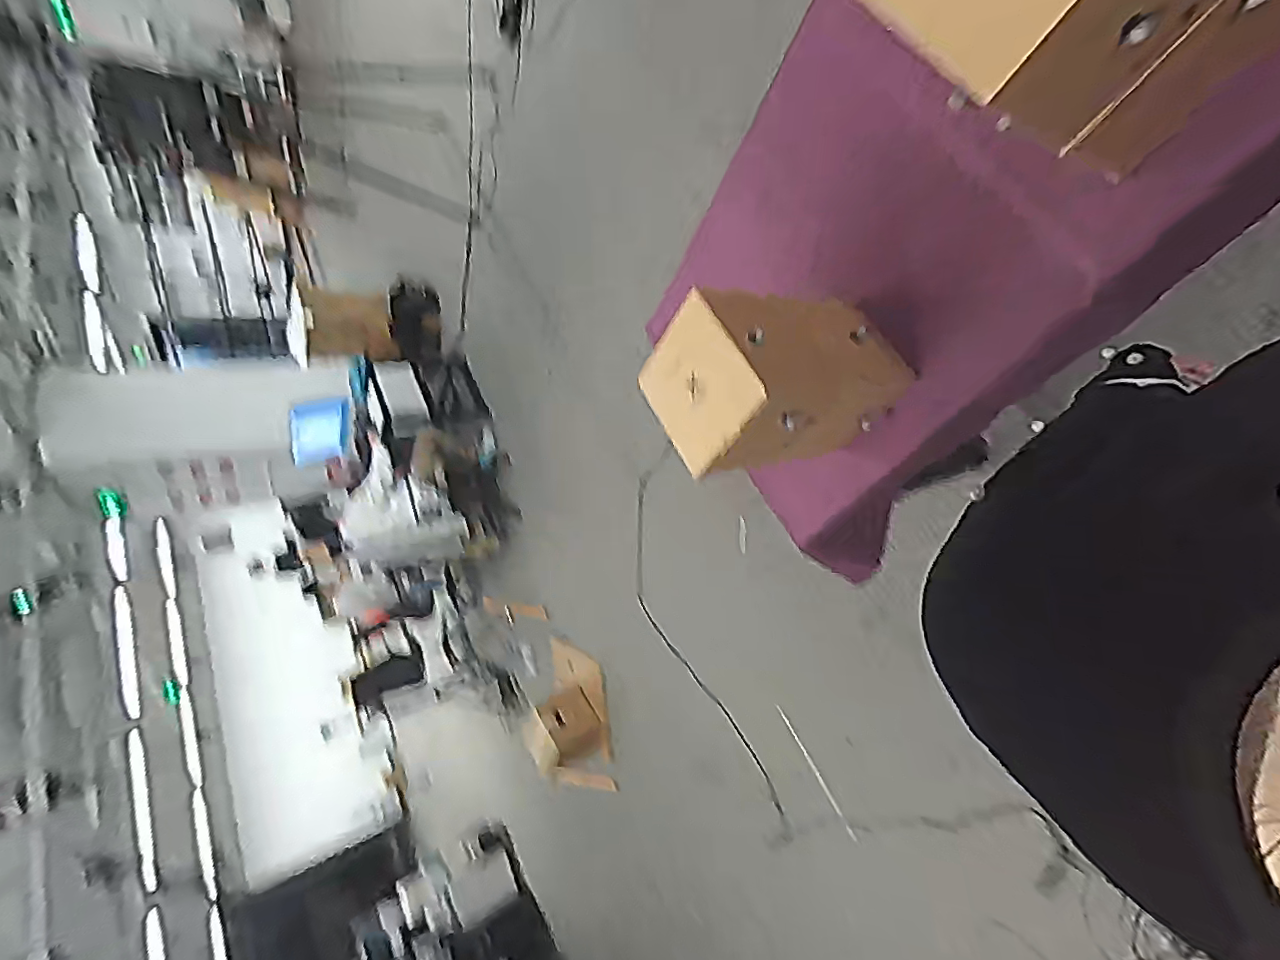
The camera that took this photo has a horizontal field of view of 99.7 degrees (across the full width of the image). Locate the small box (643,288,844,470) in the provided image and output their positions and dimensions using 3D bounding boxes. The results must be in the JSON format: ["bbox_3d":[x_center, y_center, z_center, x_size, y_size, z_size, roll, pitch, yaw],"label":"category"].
[{"bbox_3d":[0.139,-0.139,0.737,0.179,0.176,0.168,62,141,22],"label":"small box"}]

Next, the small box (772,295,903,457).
[{"bbox_3d":[0.271,-0.160,0.831,0.168,0.176,0.179,61,140,23],"label":"small box"}]

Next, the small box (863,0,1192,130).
[{"bbox_3d":[0.315,-0.408,0.420,0.168,0.176,0.179,-51,59,47],"label":"small box"}]

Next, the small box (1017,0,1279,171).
[{"bbox_3d":[0.449,-0.430,0.514,0.168,0.176,0.179,61,141,22],"label":"small box"}]
